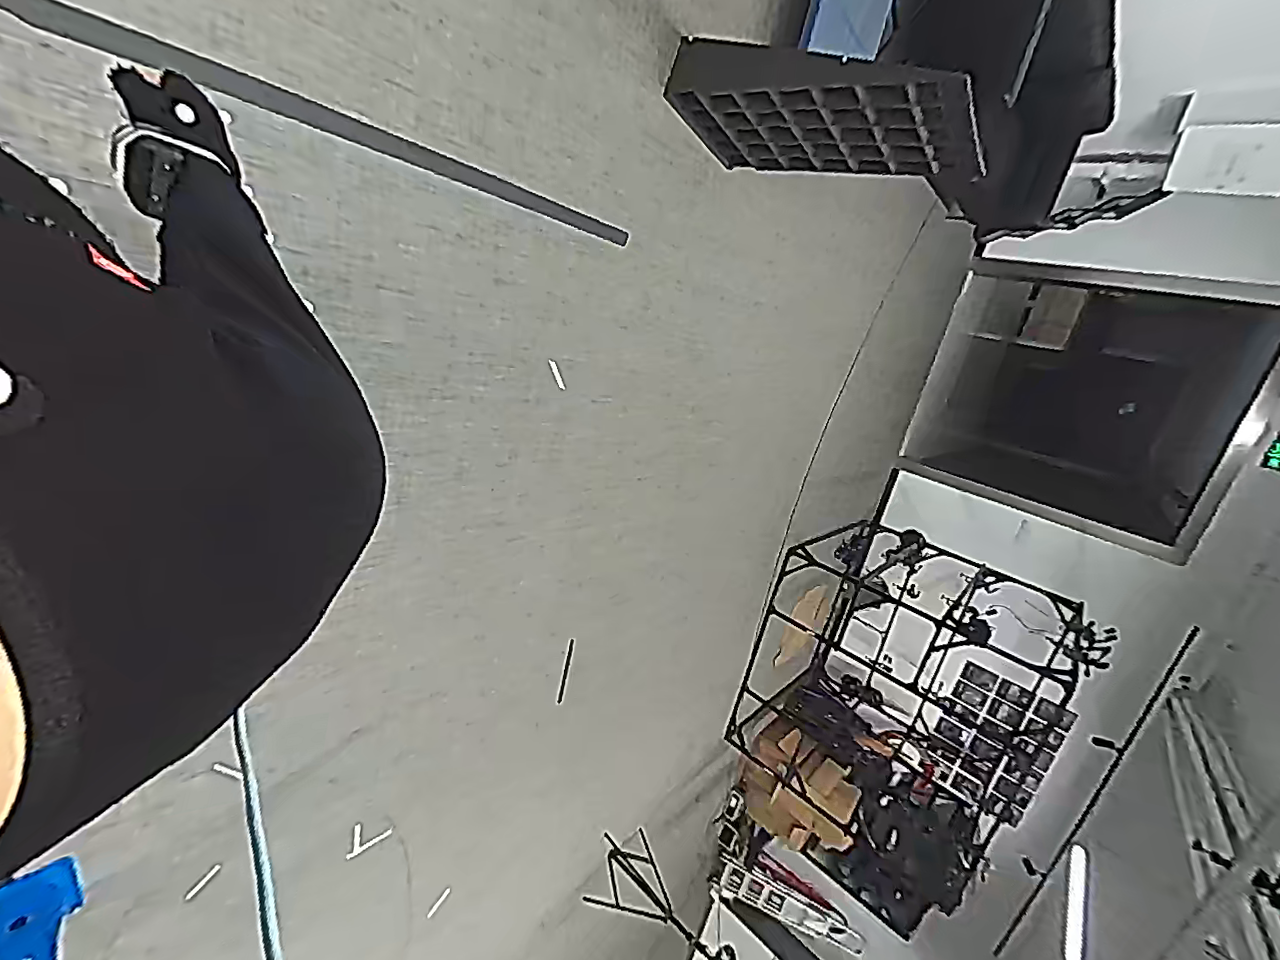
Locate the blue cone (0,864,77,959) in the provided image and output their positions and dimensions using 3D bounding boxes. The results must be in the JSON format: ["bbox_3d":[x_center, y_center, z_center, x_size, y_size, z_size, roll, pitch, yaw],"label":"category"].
[{"bbox_3d":[-1.380,1.100,1.210,0.192,0.380,0.193,-12,121,-50],"label":"blue cone"}]
